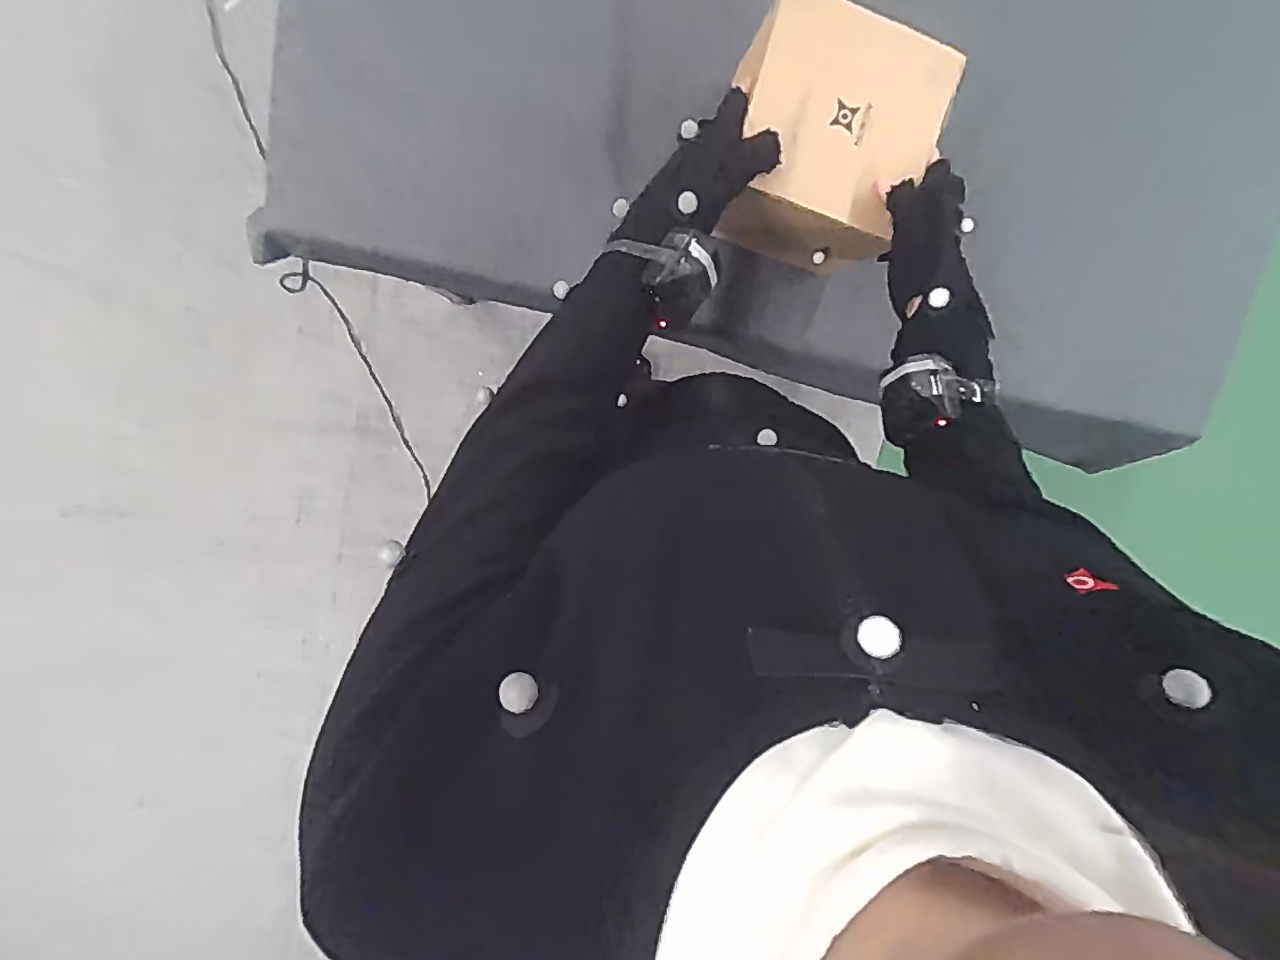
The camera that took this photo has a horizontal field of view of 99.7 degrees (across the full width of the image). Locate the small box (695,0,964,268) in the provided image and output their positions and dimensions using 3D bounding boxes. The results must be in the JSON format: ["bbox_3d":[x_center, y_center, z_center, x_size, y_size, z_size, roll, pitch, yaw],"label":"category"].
[{"bbox_3d":[0.173,-0.331,0.553,0.179,0.176,0.168,15,98,-9],"label":"small box"}]
